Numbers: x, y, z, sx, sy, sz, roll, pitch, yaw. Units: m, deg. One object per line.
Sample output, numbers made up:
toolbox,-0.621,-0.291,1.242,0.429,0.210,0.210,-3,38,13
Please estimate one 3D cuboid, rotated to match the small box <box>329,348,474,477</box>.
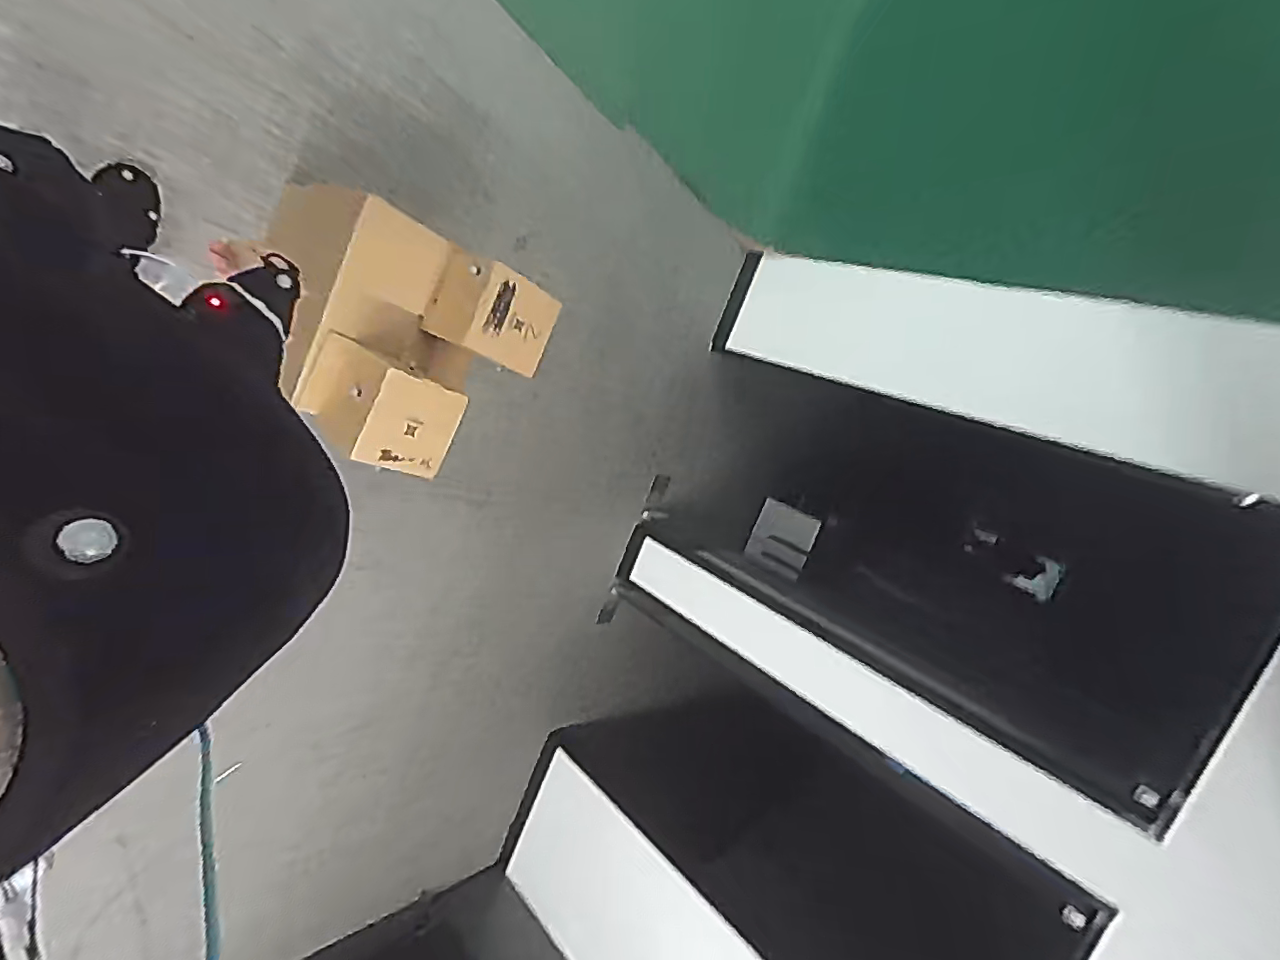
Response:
small box,-0.452,-0.129,1.016,0.168,0.176,0.179,20,96,-51
